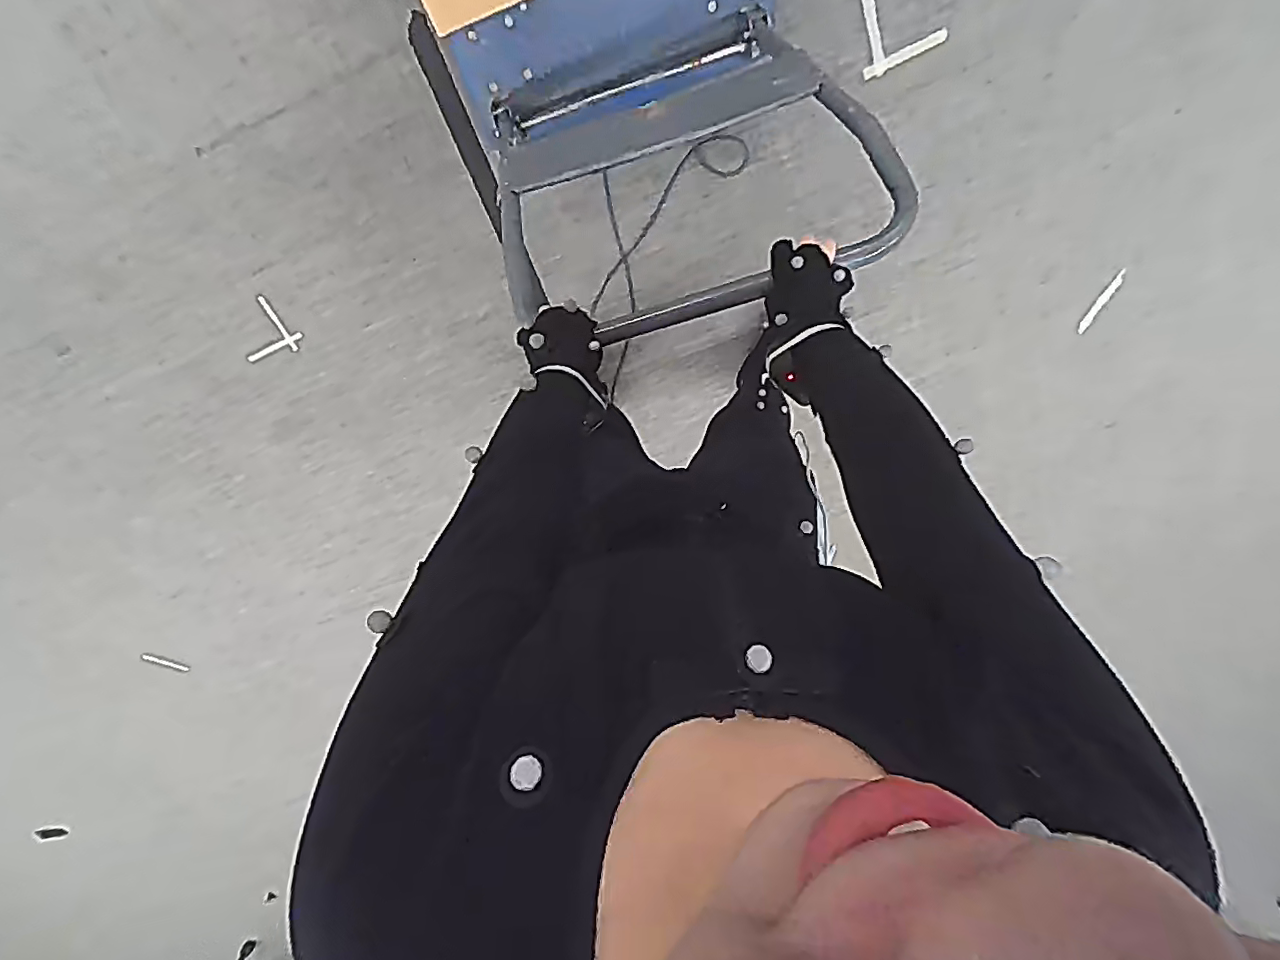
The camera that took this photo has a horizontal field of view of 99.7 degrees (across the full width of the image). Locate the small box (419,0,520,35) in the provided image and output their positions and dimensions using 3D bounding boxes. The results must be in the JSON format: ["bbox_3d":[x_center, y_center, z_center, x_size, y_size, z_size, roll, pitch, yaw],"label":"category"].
[{"bbox_3d":[-0.260,-0.800,0.796,0.179,0.176,0.168,-19,139,7],"label":"small box"}]
